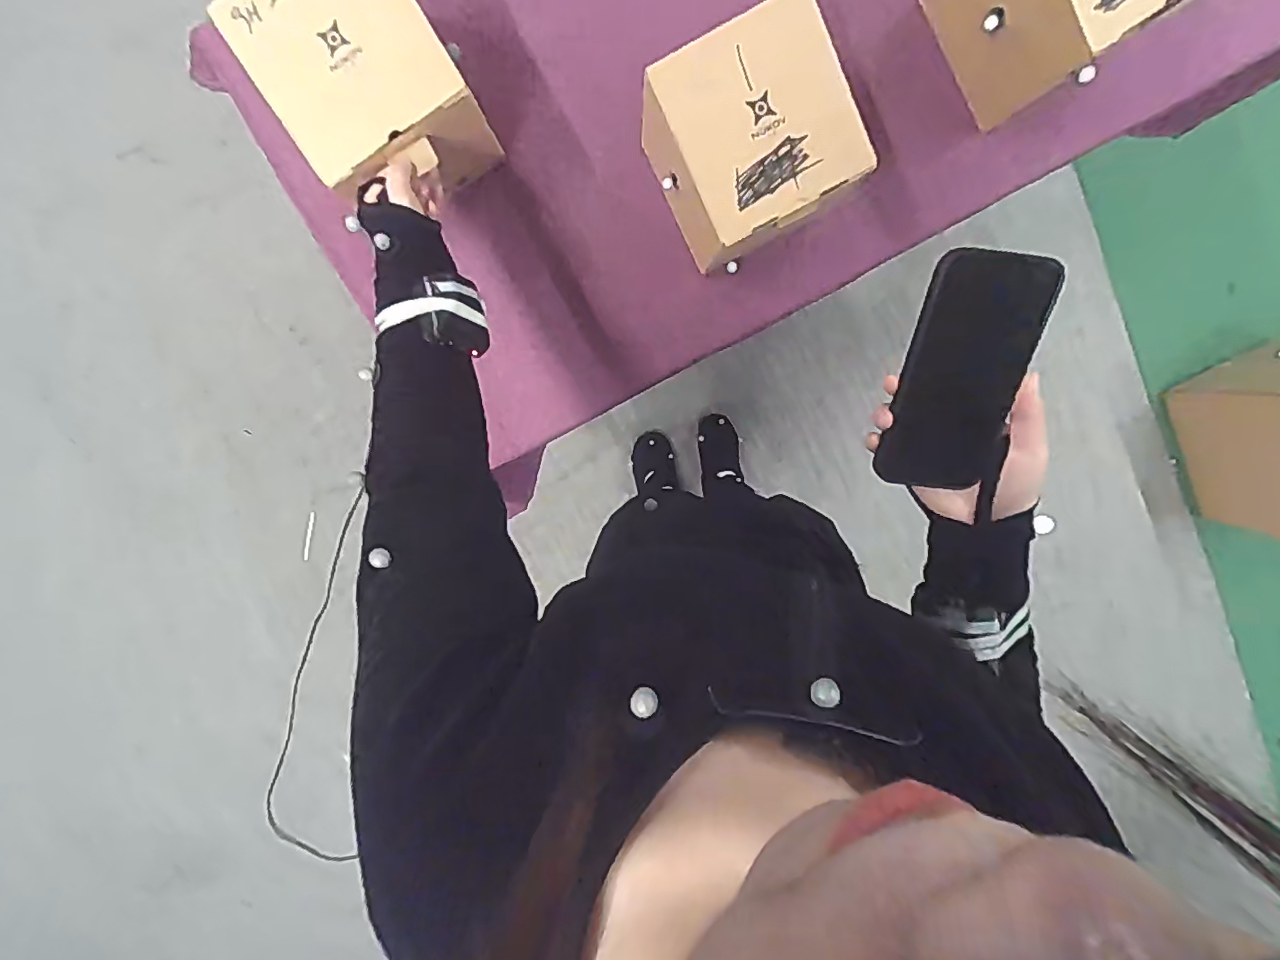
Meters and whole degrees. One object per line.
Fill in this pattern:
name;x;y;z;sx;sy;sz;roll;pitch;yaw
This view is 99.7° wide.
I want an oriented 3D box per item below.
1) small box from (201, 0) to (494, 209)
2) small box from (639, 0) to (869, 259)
small box;-0.278;-0.411;0.565;0.168;0.176;0.179;-31;102;5
small box;0.109;-0.359;0.583;0.168;0.176;0.179;-27;100;4
